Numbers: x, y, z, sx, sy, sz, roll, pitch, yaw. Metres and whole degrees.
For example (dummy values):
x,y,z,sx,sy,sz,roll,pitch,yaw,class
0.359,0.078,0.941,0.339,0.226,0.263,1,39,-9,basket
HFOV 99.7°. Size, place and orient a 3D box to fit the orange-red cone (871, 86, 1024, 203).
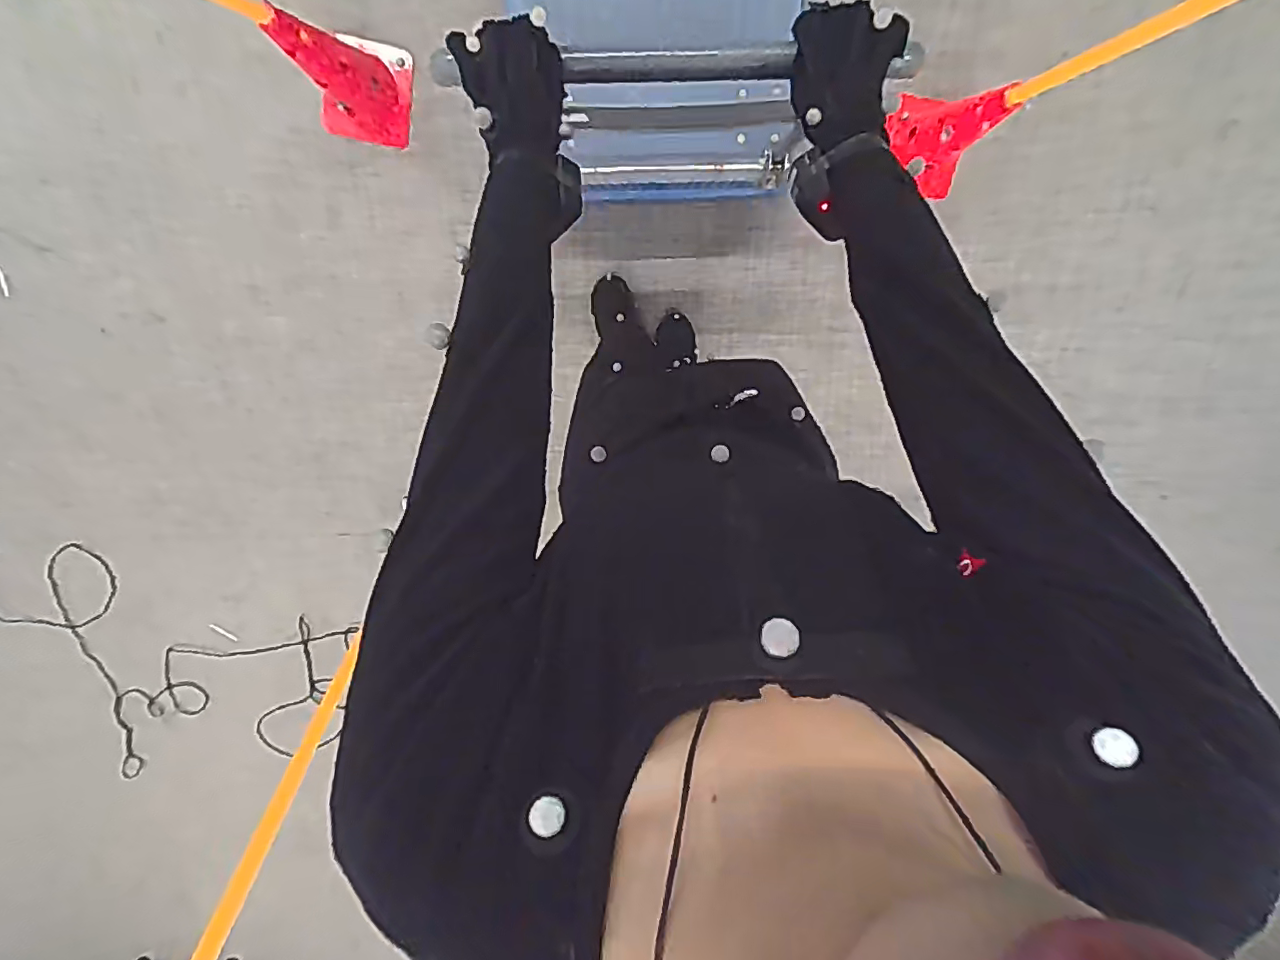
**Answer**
x,y,z,sx,sy,sz,roll,pitch,yaw,class
0.654,-0.715,1.102,0.198,0.360,0.199,10,109,-2,orange-red cone
